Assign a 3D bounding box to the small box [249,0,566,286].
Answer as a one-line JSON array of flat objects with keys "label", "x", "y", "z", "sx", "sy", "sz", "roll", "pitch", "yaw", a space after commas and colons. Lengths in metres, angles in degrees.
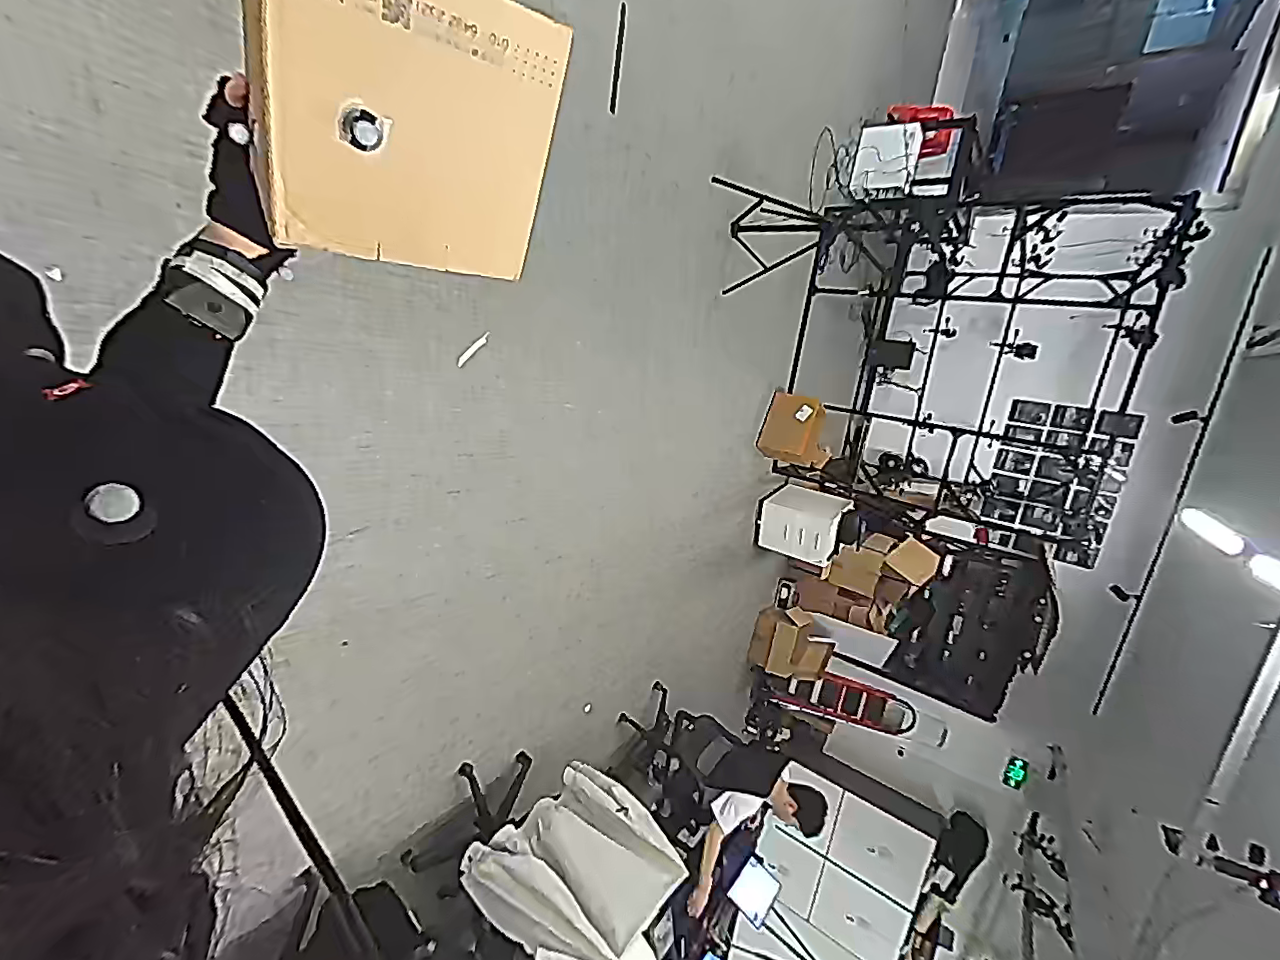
[{"label": "small box", "x": -0.169, "y": -0.263, "z": 0.382, "sx": 0.168, "sy": 0.179, "sz": 0.176, "roll": -4, "pitch": 132, "yaw": -38}]
